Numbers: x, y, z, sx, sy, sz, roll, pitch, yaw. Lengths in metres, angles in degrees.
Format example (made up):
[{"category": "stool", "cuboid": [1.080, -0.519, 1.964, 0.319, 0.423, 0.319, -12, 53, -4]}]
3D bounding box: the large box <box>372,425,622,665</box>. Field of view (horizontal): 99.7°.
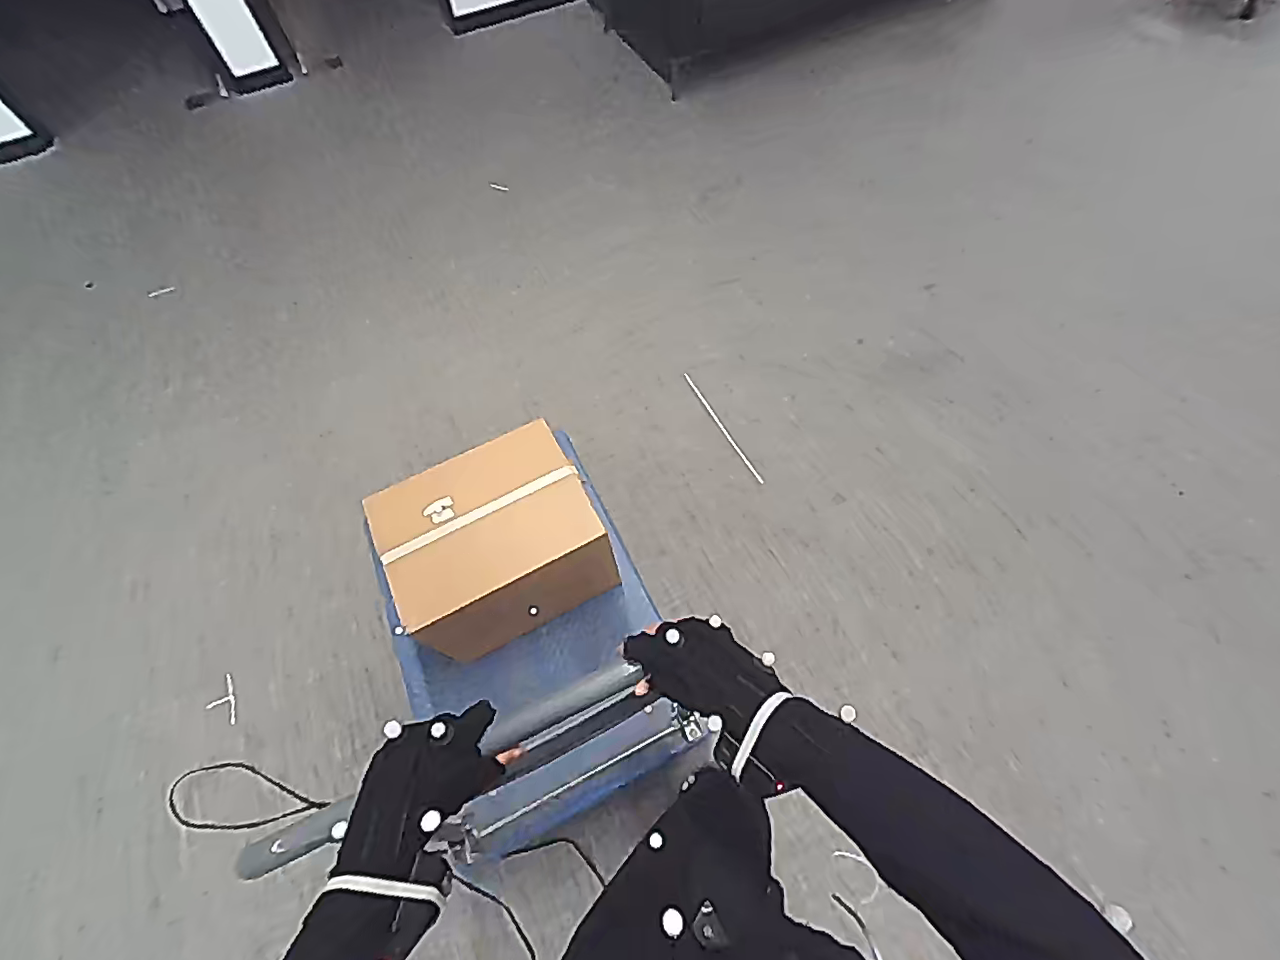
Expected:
[{"category": "large box", "cuboid": [-0.292, 0.152, 1.197, 0.408, 0.320, 0.320, -27, 62, -11]}]
